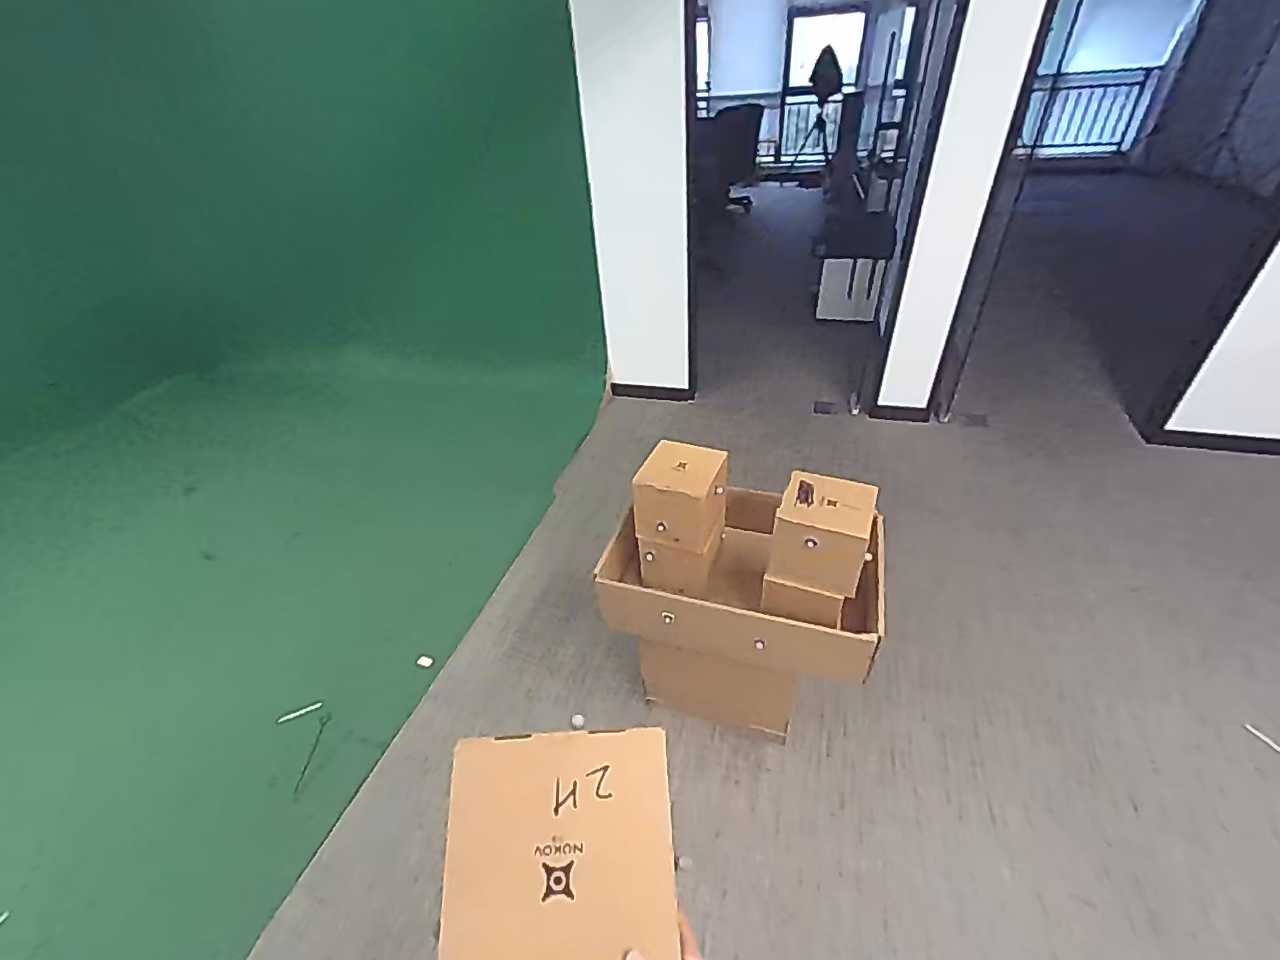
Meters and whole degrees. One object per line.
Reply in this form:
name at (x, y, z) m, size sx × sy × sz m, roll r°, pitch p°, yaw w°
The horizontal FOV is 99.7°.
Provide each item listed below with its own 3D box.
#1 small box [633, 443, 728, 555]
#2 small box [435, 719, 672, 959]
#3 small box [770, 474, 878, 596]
small box at (0.095, 0.042, 1.245) m, size 0.168 × 0.176 × 0.179 m, roll 13°, pitch 40°, yaw 21°
small box at (-0.058, 0.304, 0.464) m, size 0.168 × 0.176 × 0.179 m, roll -2°, pitch 64°, yaw -1°
small box at (0.377, 0.114, 1.121) m, size 0.179 × 0.176 × 0.168 m, roll 13°, pitch 41°, yaw 22°
